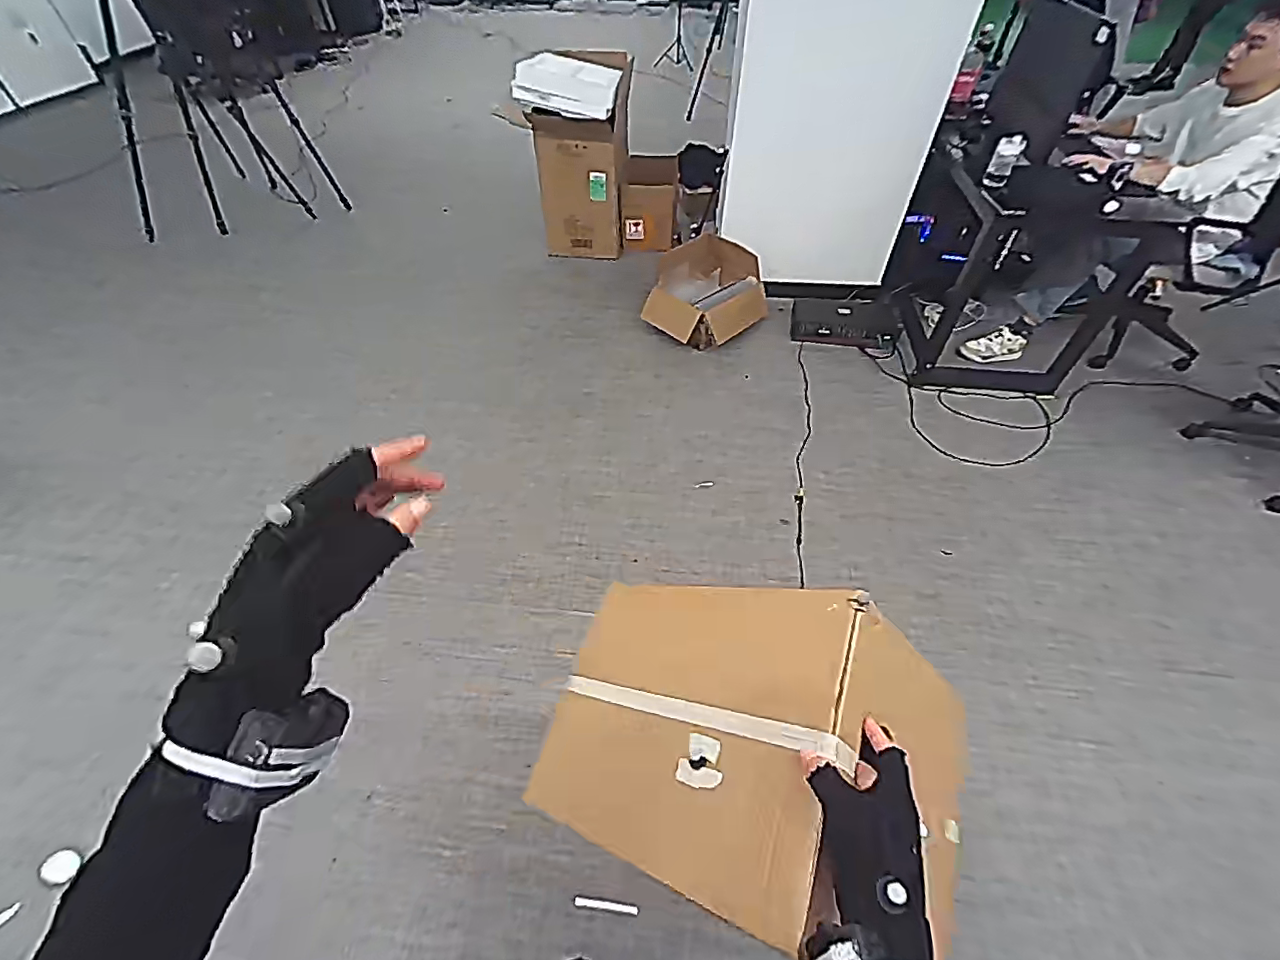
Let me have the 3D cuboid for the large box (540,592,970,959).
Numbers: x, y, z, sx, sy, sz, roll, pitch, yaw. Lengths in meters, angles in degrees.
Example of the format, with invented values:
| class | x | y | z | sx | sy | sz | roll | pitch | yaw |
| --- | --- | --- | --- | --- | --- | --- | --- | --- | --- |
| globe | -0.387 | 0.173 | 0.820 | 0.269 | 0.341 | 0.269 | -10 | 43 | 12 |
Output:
| class | x | y | z | sx | sy | sz | roll | pitch | yaw |
| --- | --- | --- | --- | --- | --- | --- | --- | --- | --- |
| large box | 0.149 | 0.360 | 0.709 | 0.408 | 0.320 | 0.320 | -11 | 47 | 48 |
